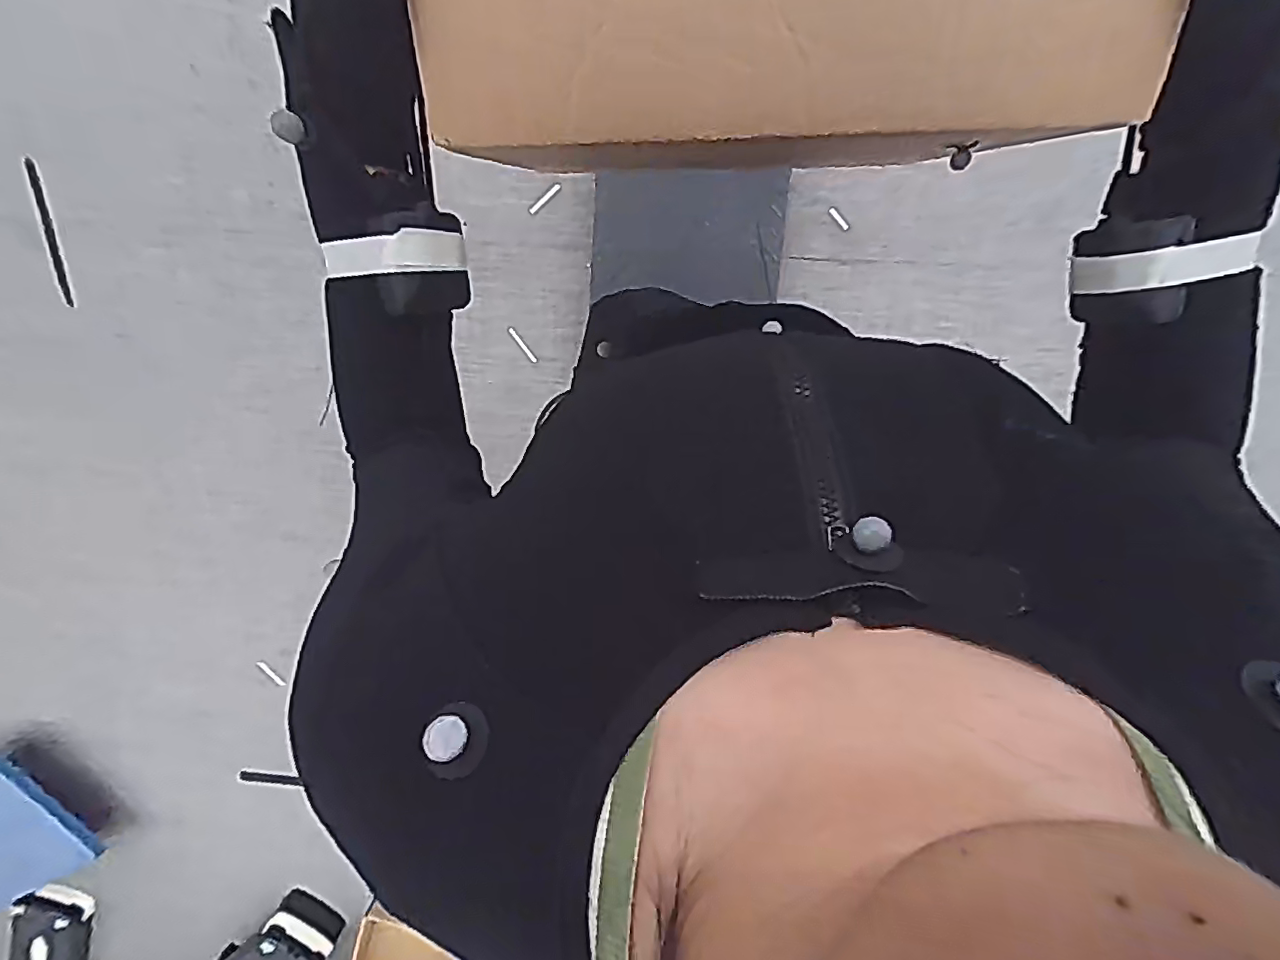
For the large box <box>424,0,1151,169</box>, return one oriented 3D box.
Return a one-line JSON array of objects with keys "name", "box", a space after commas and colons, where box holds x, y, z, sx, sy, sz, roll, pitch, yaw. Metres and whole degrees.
[{"name": "large box", "box": [0.081, -0.411, 0.385, 0.408, 0.320, 0.320, 0, 117, 3]}]
